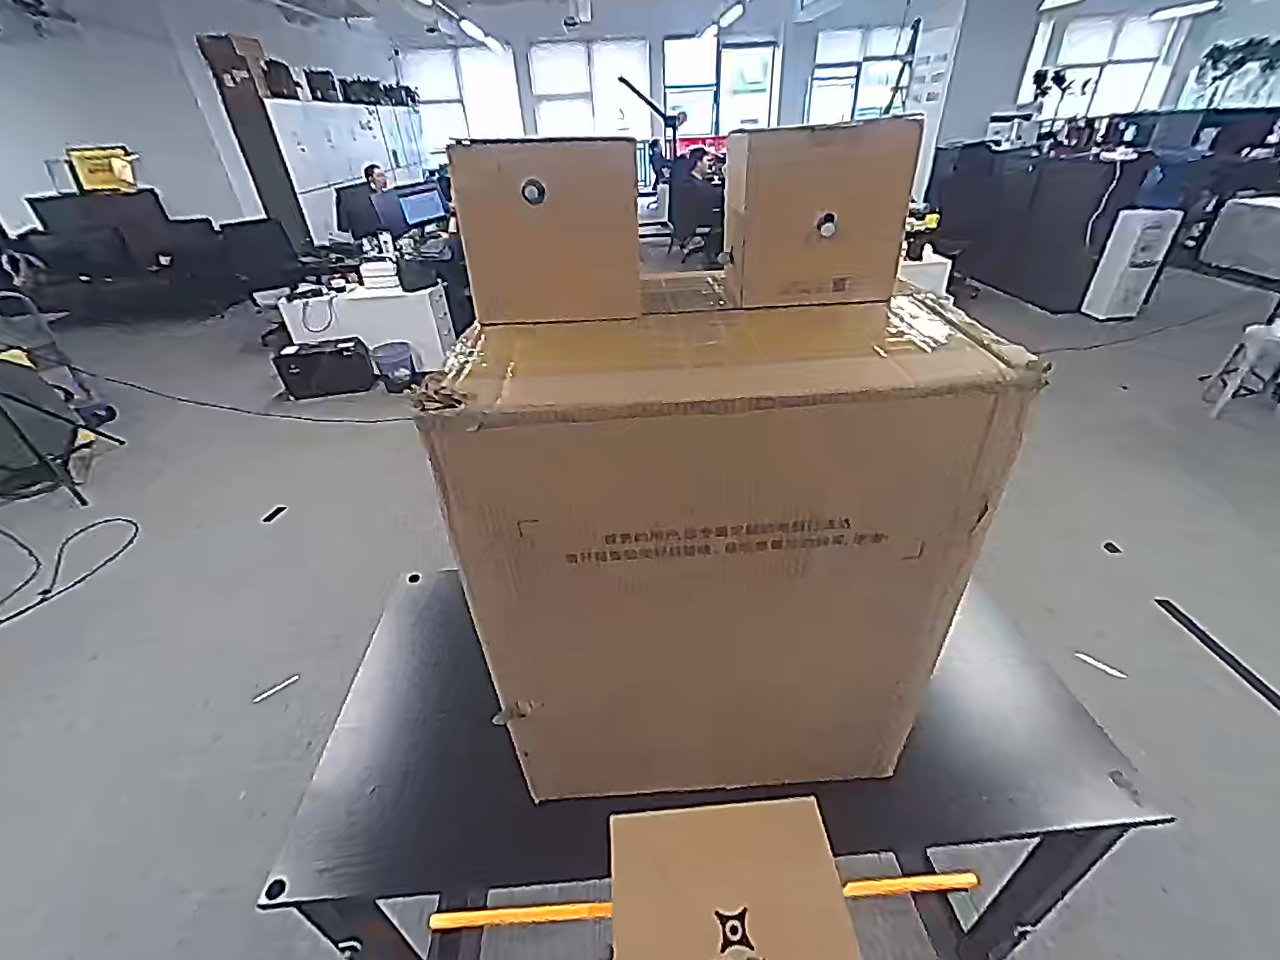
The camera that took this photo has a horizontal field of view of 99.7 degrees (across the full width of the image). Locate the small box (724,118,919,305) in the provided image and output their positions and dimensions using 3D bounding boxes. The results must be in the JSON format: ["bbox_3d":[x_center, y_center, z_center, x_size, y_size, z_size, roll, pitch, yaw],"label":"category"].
[{"bbox_3d":[0.187,-0.301,0.614,0.168,0.176,0.179,-3,32,3],"label":"small box"}]

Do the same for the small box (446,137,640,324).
[{"bbox_3d":[-0.092,-0.278,0.602,0.179,0.176,0.168,-3,33,-2],"label":"small box"}]
